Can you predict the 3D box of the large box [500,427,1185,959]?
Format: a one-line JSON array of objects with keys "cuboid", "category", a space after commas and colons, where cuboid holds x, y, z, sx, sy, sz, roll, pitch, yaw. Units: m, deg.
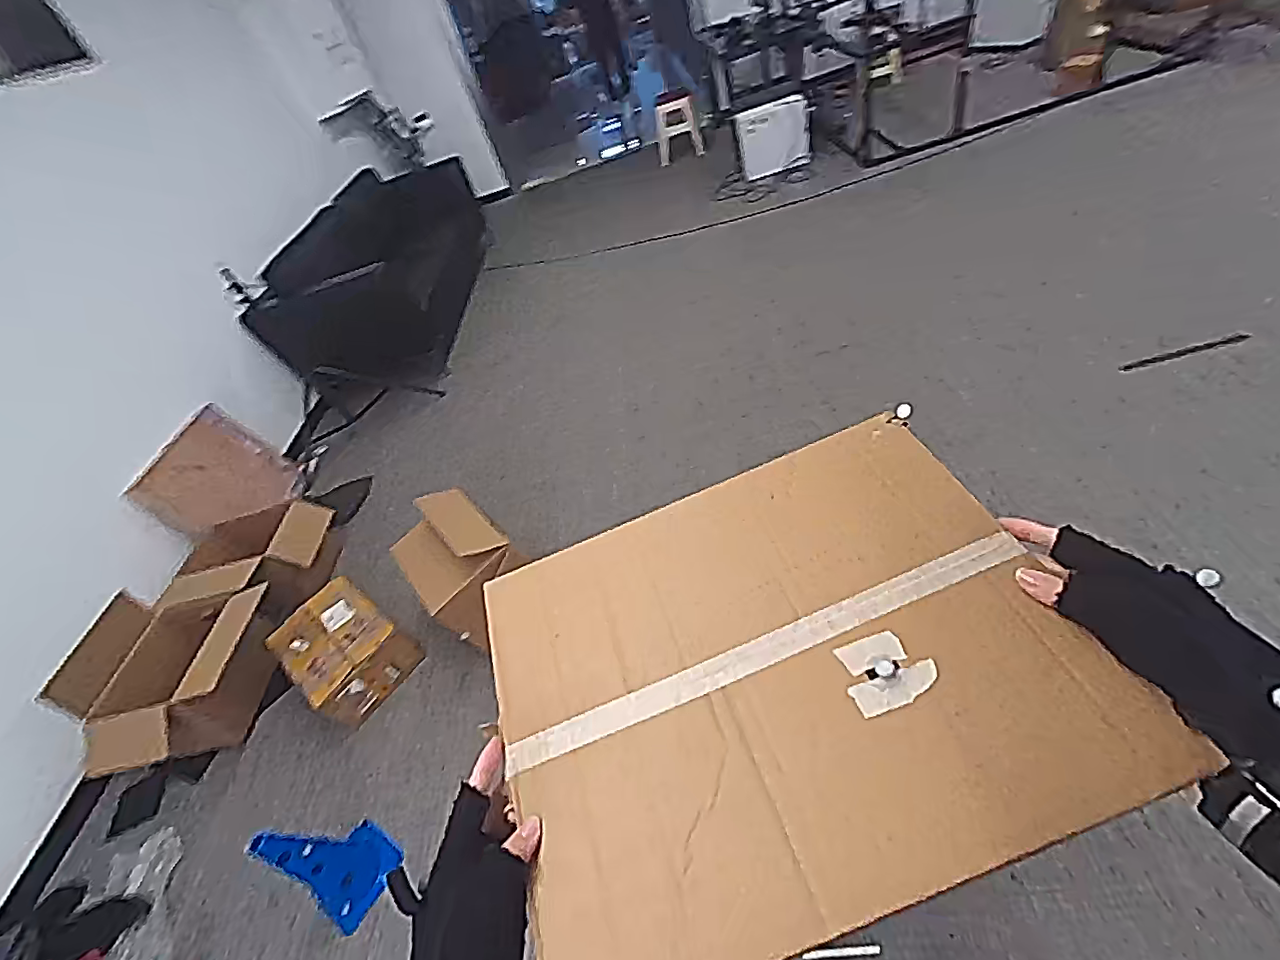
[{"cuboid": [0.131, 0.222, 0.522, 0.408, 0.320, 0.320, -23, 51, -1], "category": "large box"}]
